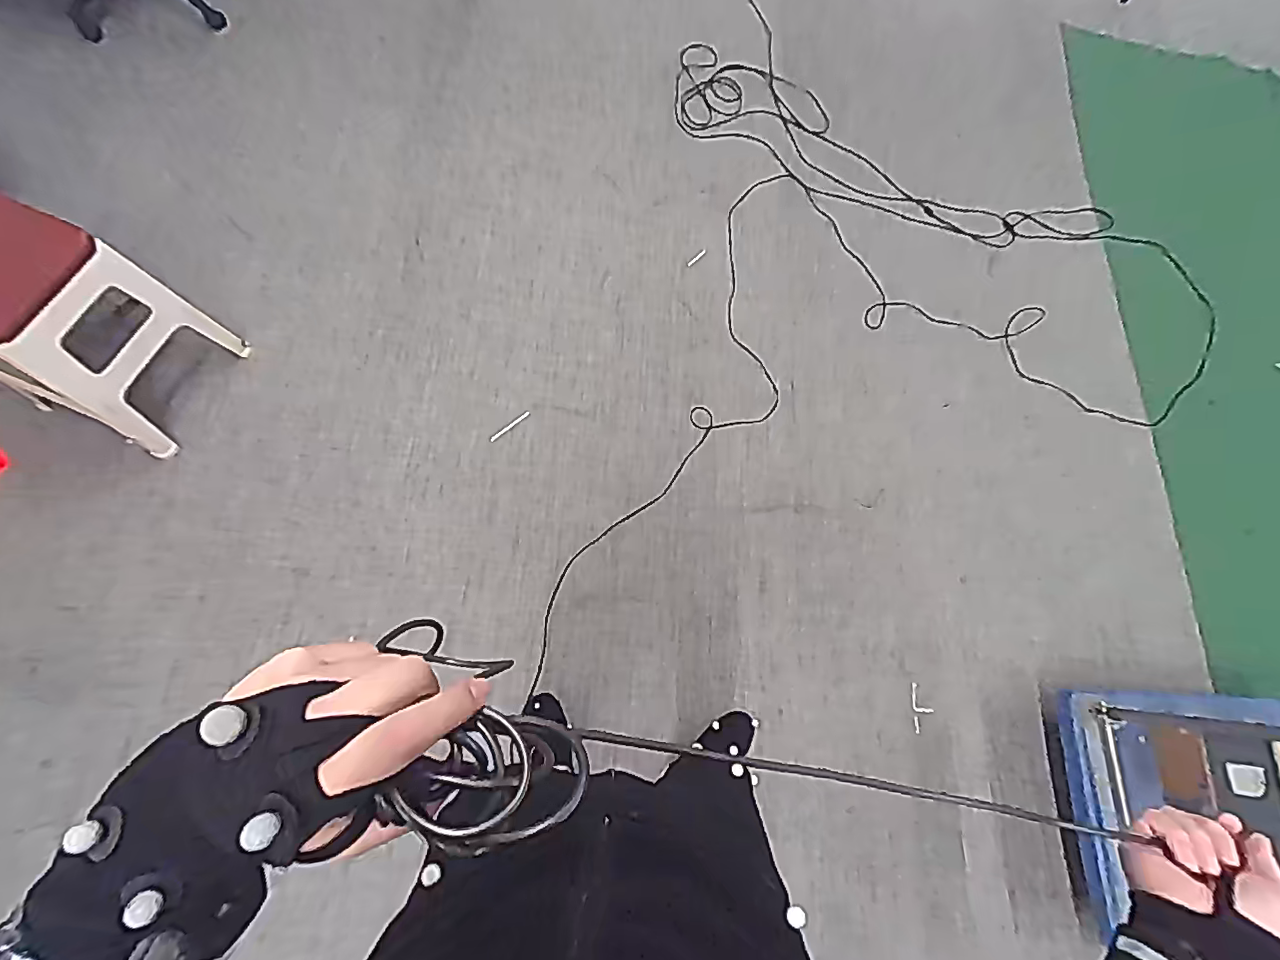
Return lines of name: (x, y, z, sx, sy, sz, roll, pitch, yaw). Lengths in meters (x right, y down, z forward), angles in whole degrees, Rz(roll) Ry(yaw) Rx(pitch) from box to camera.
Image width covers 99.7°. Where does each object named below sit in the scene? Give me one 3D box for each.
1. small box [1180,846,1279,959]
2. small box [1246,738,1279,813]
small box: (1.401, 0.955, 1.226, 0.179, 0.176, 0.168, 6, 72, -5)
small box: (1.665, 0.739, 1.329, 0.179, 0.176, 0.168, 2, 73, -7)
